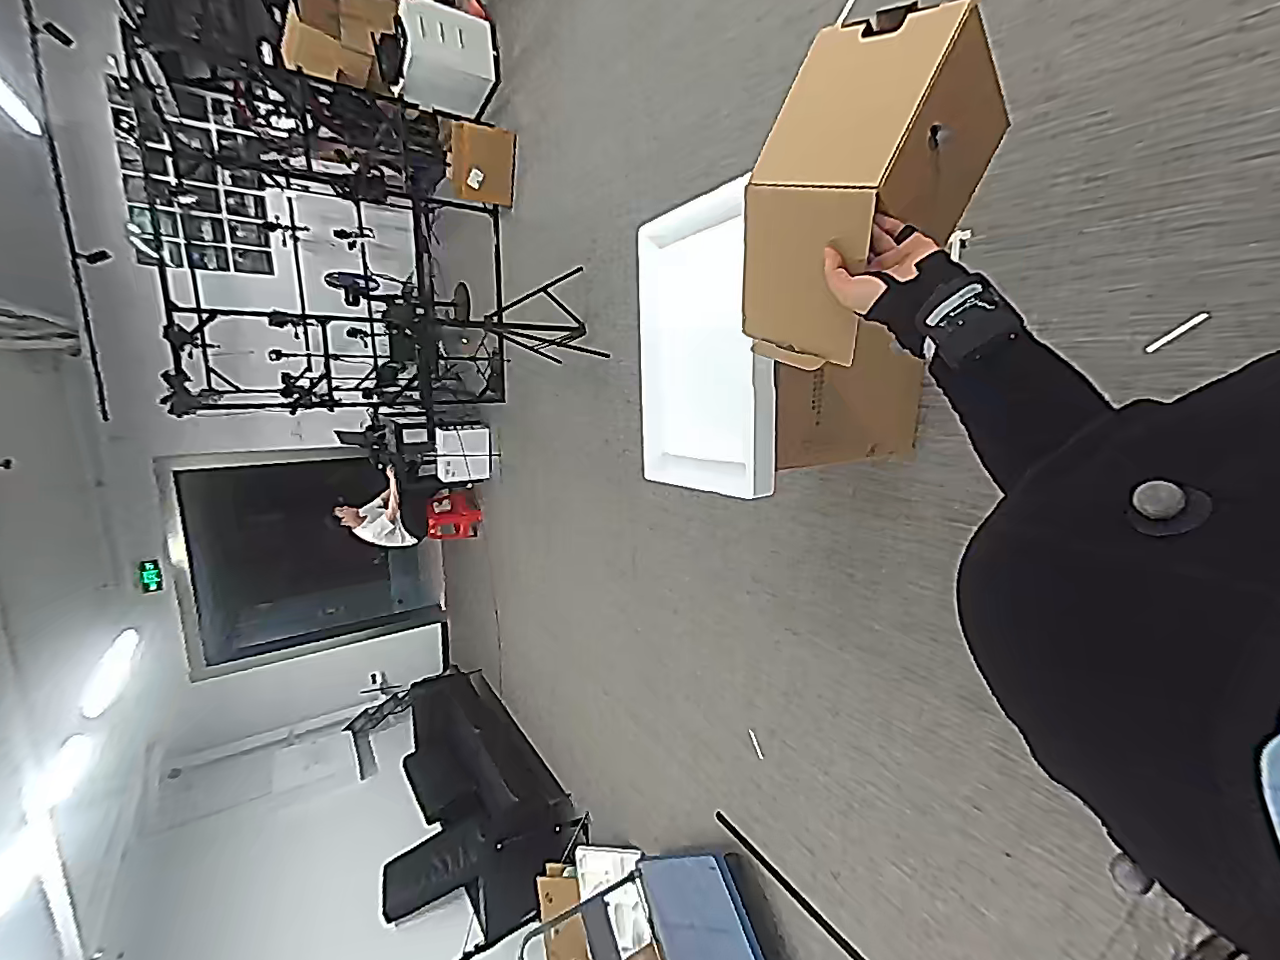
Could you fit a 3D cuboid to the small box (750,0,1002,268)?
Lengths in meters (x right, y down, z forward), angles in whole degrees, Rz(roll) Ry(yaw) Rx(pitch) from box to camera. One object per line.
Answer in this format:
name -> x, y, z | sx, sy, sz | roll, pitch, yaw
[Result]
small box -> 0.261, -0.358, 0.593 | 0.168, 0.176, 0.179 | 34, 102, 44
